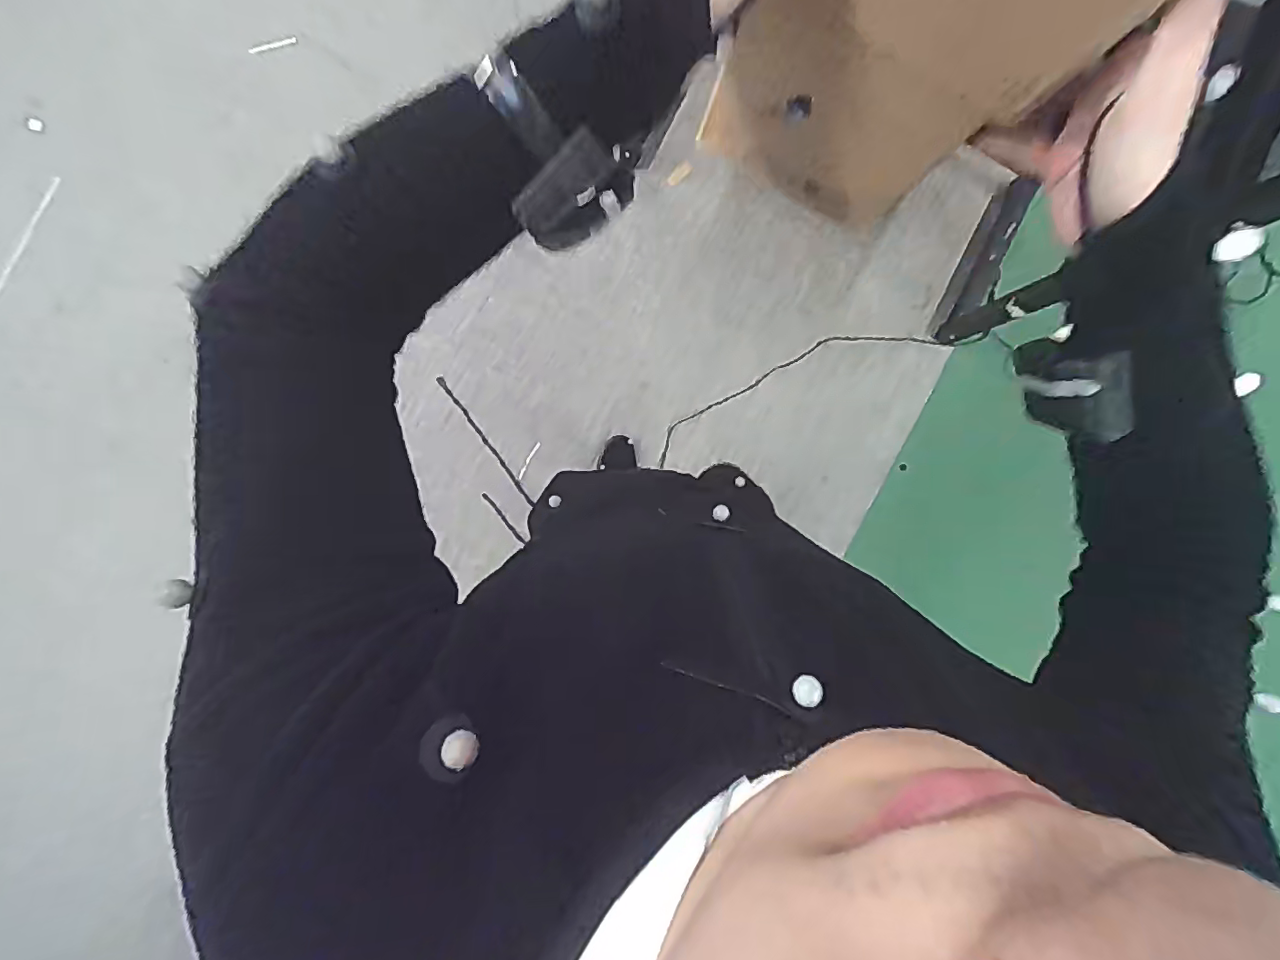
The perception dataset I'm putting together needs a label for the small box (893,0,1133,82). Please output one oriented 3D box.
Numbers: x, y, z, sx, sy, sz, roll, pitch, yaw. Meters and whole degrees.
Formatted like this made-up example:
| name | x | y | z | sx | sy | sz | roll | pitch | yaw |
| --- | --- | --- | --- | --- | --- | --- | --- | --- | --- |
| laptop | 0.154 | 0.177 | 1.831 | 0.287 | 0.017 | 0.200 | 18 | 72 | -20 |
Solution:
| name | x | y | z | sx | sy | sz | roll | pitch | yaw |
| --- | --- | --- | --- | --- | --- | --- | --- | --- | --- |
| small box | 0.179 | -0.313 | 0.208 | 0.179 | 0.176 | 0.168 | 28 | 87 | -6 |
